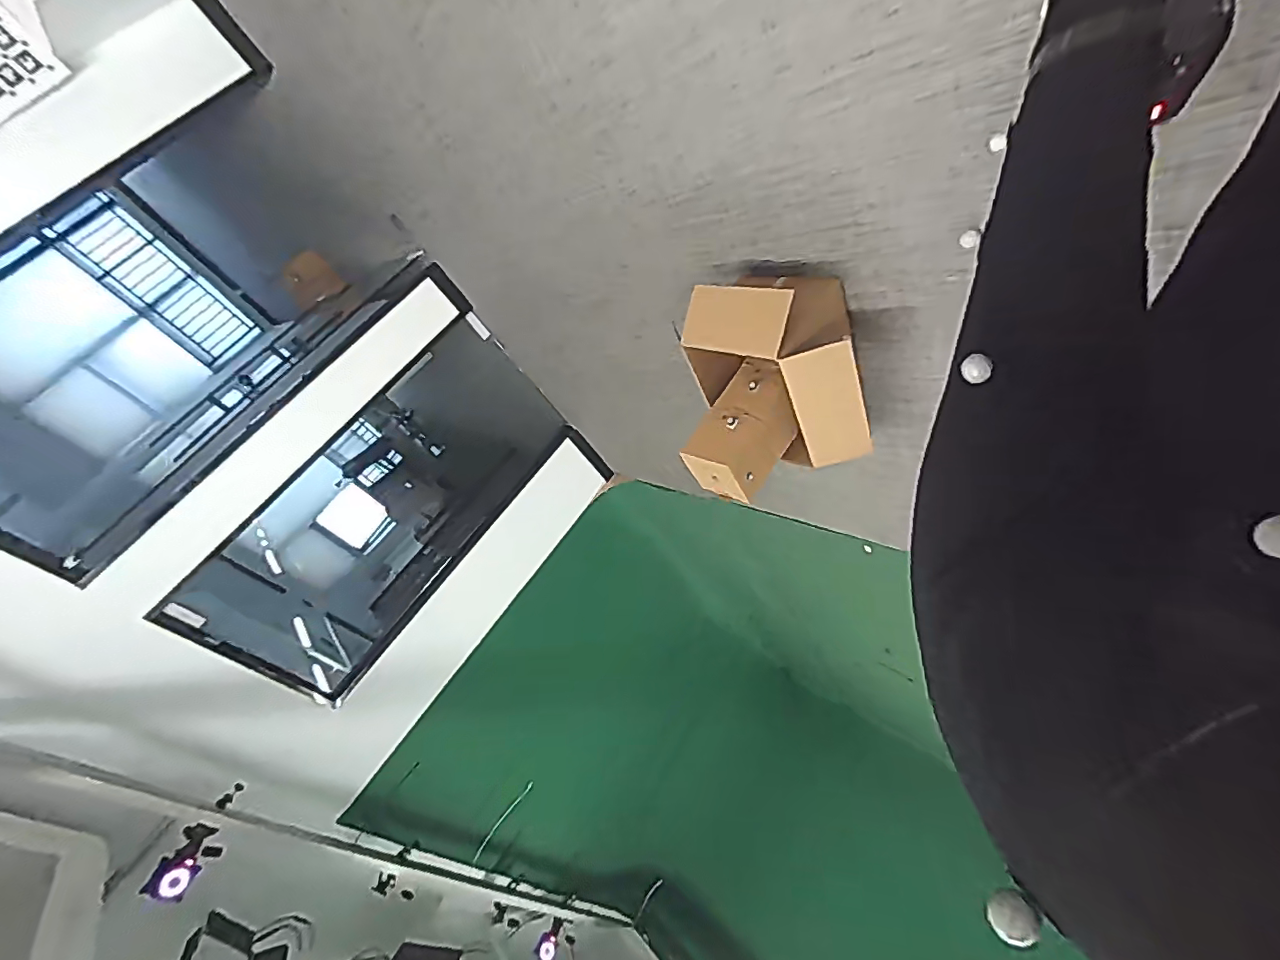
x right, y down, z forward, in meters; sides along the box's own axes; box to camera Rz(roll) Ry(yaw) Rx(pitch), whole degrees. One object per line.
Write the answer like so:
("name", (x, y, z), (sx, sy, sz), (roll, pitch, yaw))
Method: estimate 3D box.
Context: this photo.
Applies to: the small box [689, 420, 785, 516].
("small box", (0.268, -0.035, 1.458), (0.168, 0.176, 0.179), (18, 155, 43))
